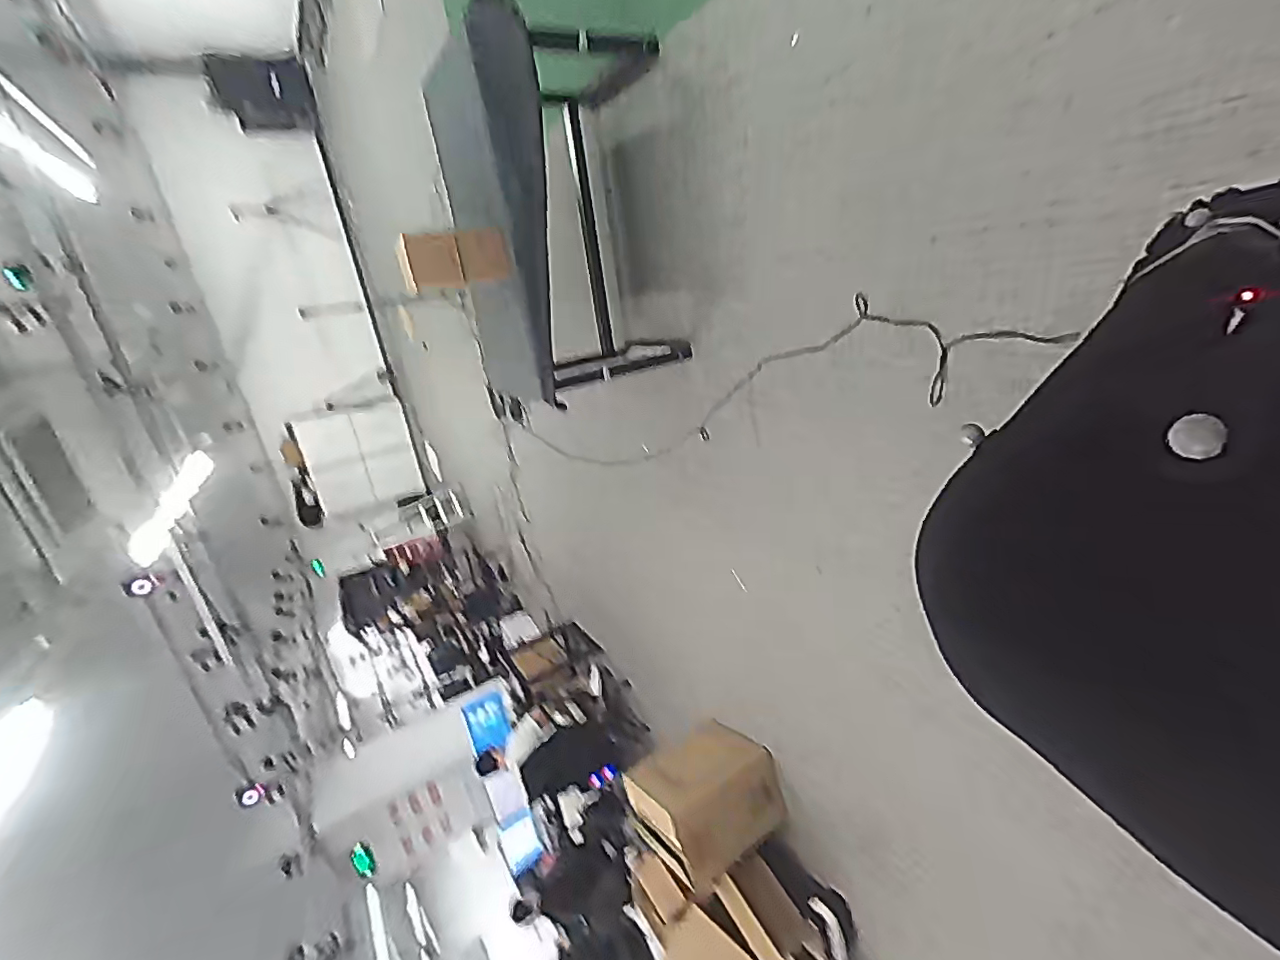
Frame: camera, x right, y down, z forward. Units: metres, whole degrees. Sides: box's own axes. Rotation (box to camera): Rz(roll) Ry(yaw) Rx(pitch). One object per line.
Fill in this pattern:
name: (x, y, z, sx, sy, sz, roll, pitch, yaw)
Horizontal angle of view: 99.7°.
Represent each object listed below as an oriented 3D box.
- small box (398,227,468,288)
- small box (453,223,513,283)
small box: (-0.712, -0.767, 1.863, 0.168, 0.176, 0.179, 24, 128, 56)
small box: (-0.576, -0.816, 1.941, 0.168, 0.176, 0.179, 24, 129, 57)
